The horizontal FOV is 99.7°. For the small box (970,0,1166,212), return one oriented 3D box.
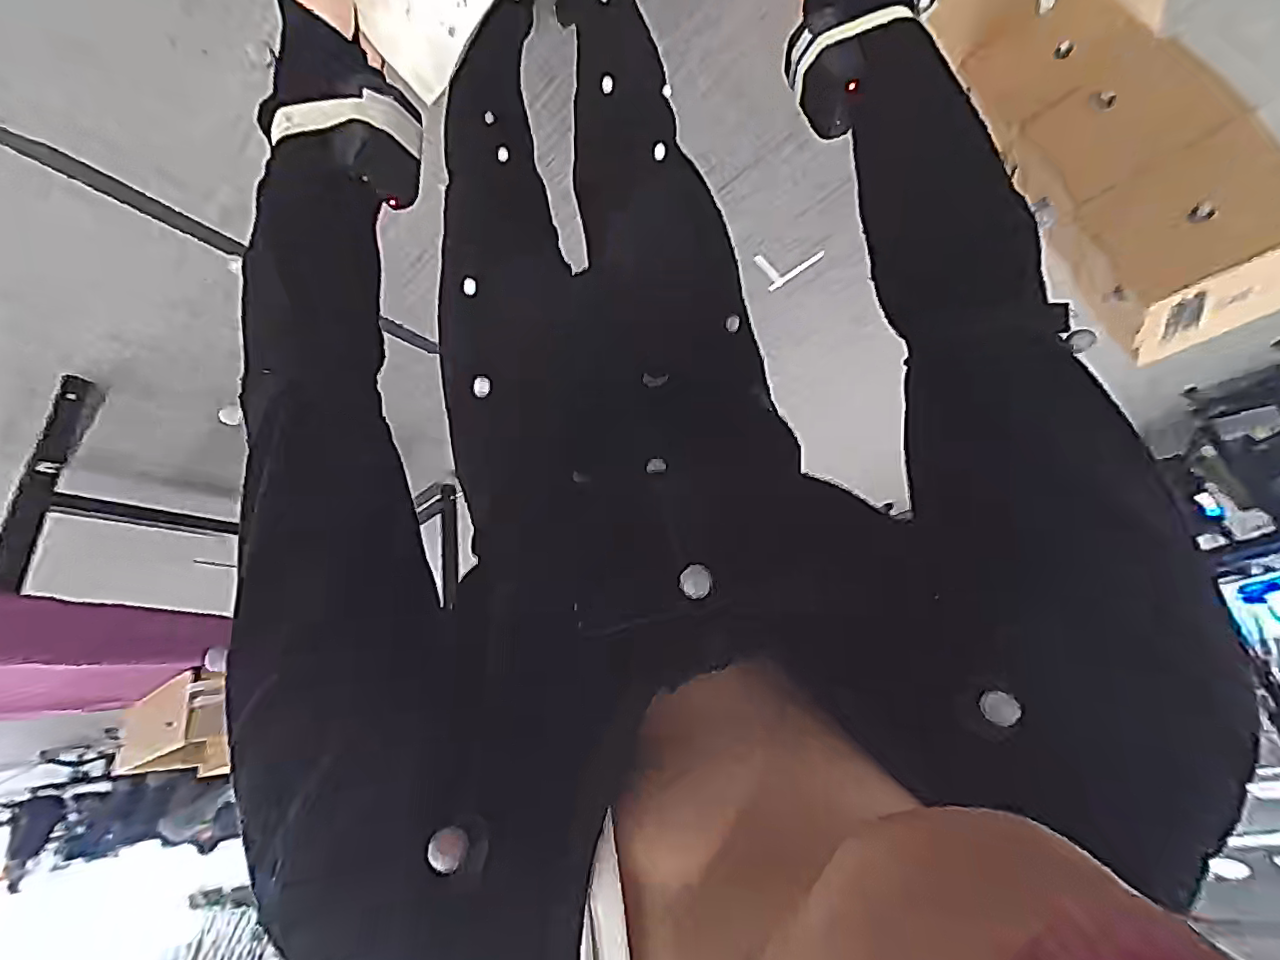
[{"bbox_3d":[0.620,-0.559,0.814,0.179,0.176,0.168,-25,150,24],"label":"small box"}]

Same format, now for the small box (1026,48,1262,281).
[{"bbox_3d":[0.656,-0.419,0.737,0.179,0.176,0.168,-25,151,28],"label":"small box"}]
